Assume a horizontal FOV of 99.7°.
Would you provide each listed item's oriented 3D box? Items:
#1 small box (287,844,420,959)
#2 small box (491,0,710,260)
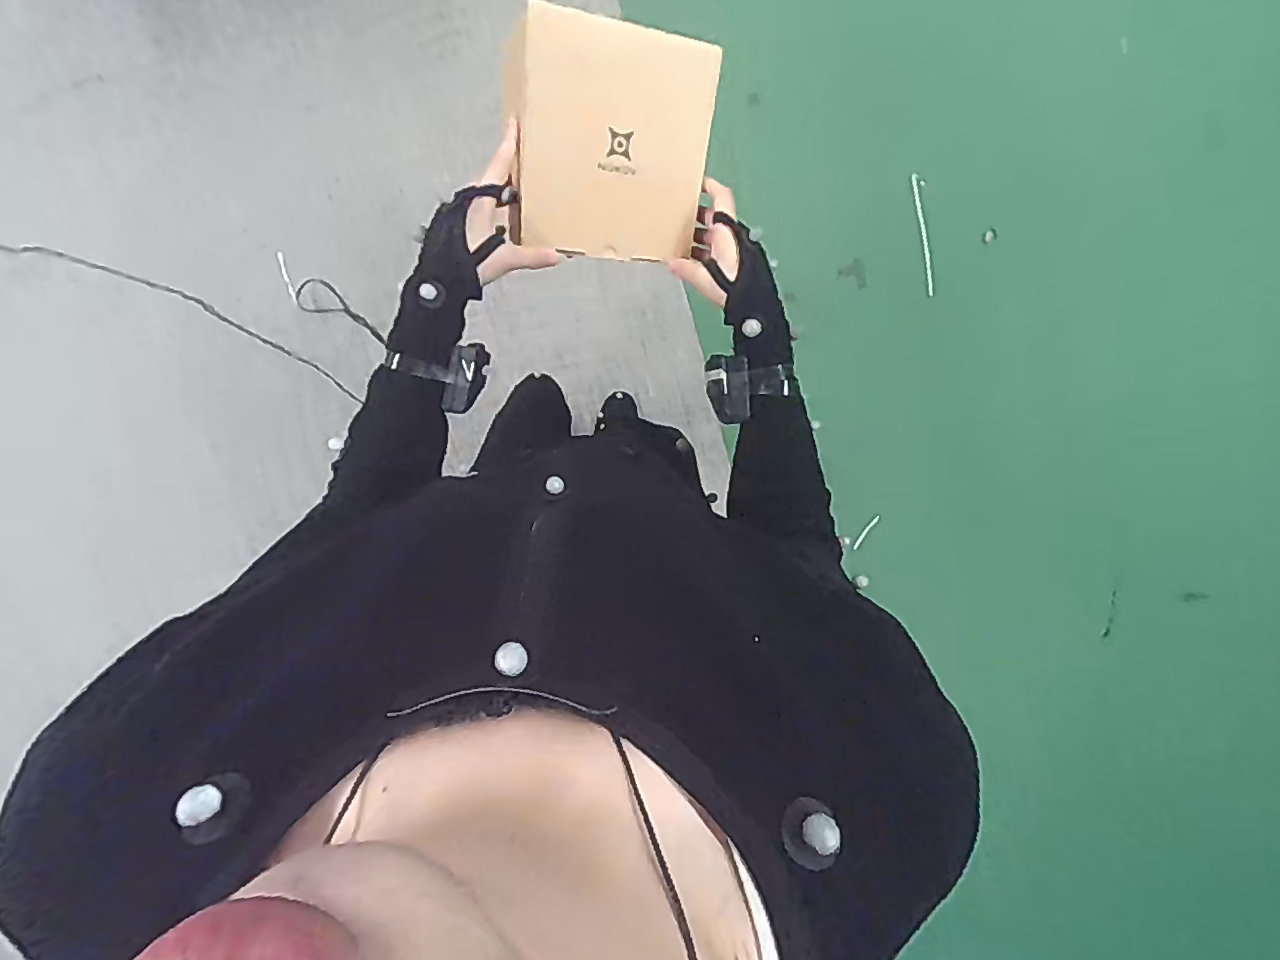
[{"bbox_3d":[-0.568,0.875,1.094,0.168,0.176,0.179,-8,98,0],"label":"small box"},{"bbox_3d":[-0.053,-0.322,0.524,0.168,0.176,0.179,-2,118,-20],"label":"small box"}]
